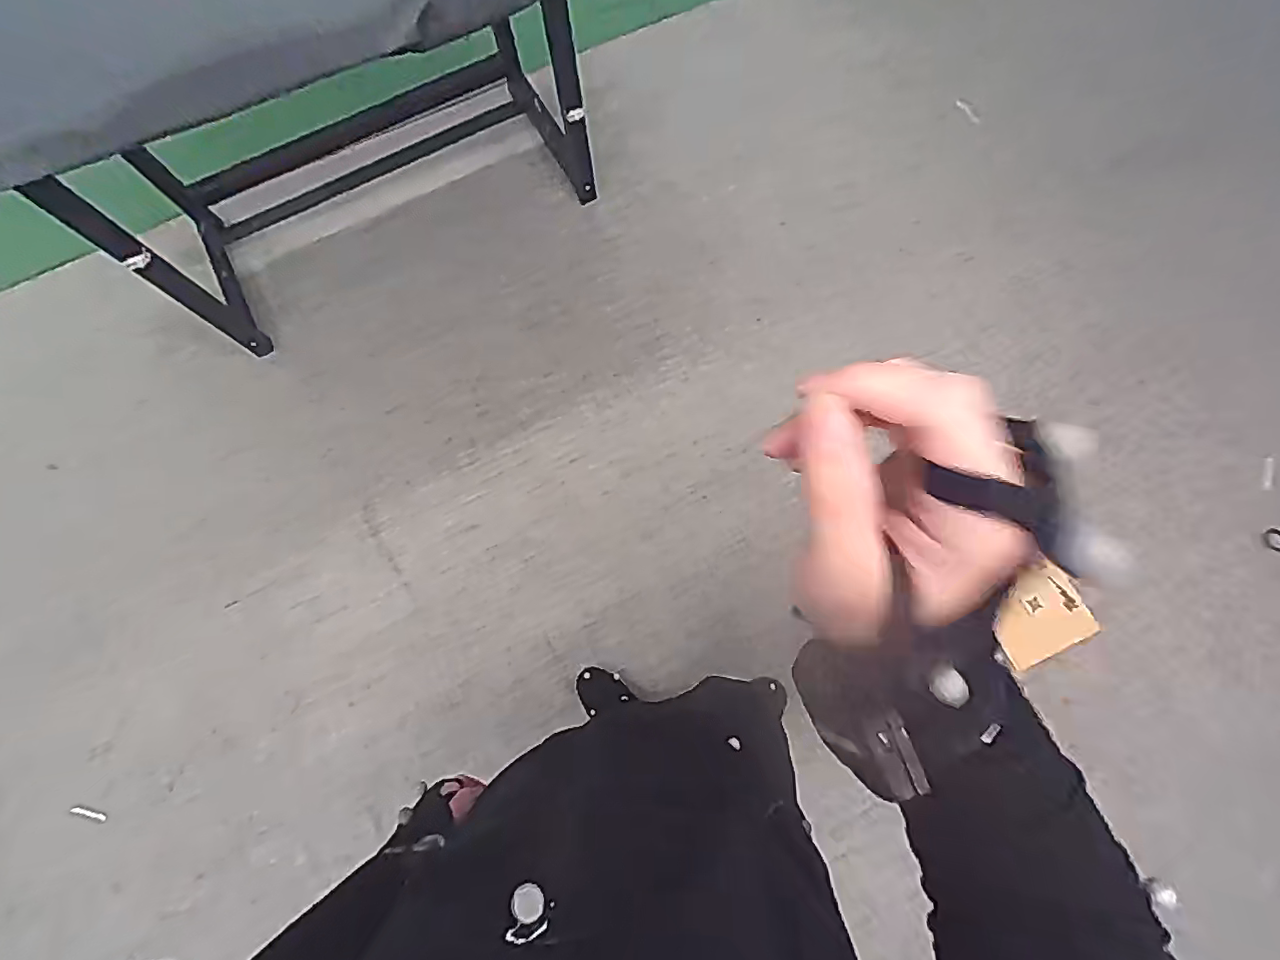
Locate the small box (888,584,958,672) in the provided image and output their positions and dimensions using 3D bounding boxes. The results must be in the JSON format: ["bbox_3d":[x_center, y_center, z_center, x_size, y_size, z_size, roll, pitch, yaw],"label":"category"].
[{"bbox_3d":[0.680,0.311,1.179,0.179,0.176,0.168,-15,73,-3],"label":"small box"}]

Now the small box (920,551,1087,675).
[{"bbox_3d":[0.668,0.256,1.026,0.179,0.176,0.168,-23,73,-5],"label":"small box"}]

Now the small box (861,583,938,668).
[{"bbox_3d":[0.683,0.357,1.337,0.179,0.176,0.168,-16,73,-2],"label":"small box"}]
